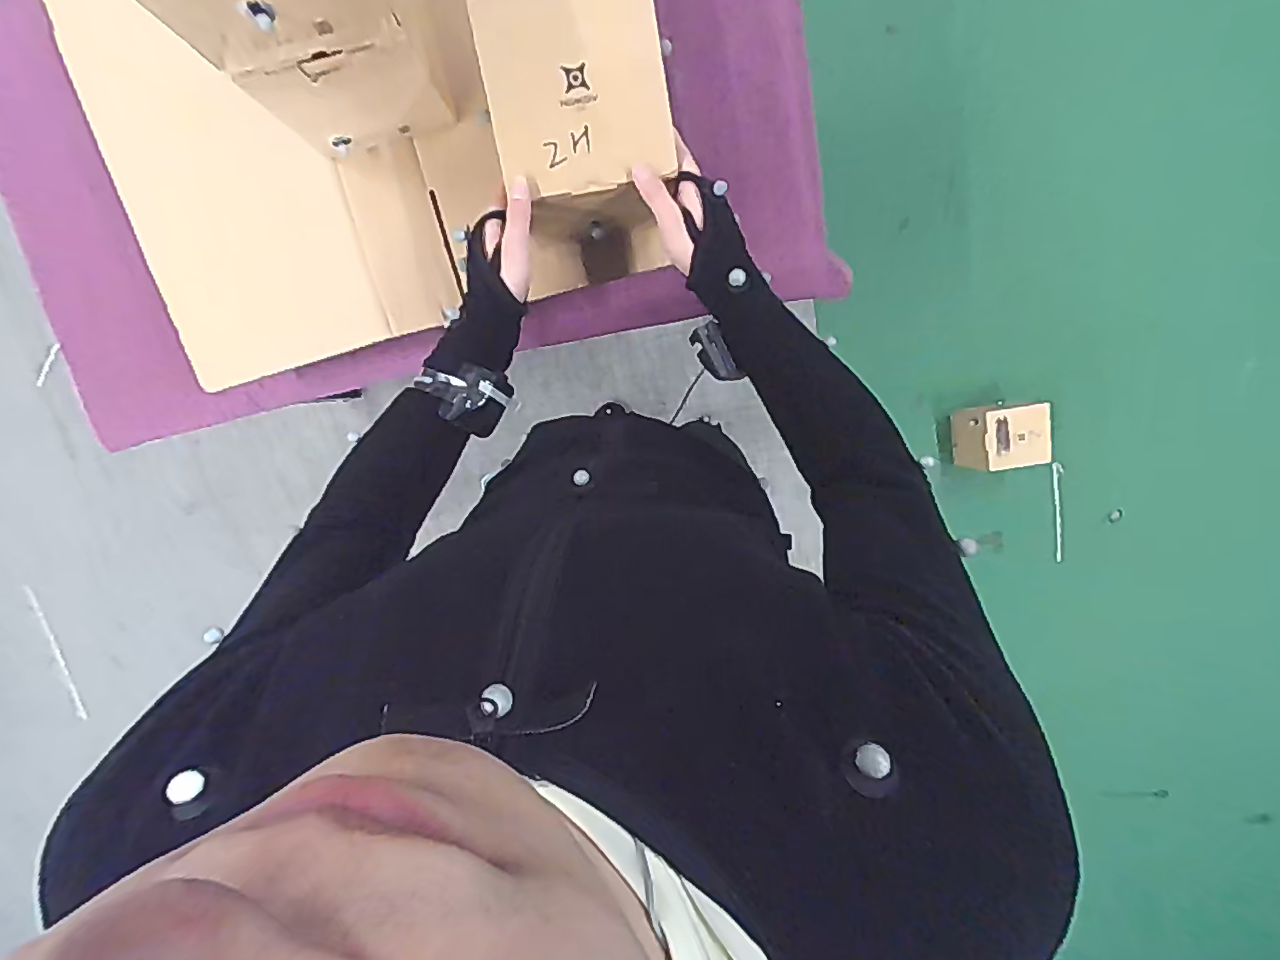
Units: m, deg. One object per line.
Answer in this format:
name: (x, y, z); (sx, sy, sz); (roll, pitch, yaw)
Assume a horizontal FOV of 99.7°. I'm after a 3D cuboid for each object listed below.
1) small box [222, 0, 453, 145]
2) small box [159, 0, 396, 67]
small box: (-0.310, -0.470, 0.545); (0.168, 0.176, 0.179); (-15, 99, 0)
small box: (-0.306, -0.451, 0.384); (0.168, 0.176, 0.179); (-16, 101, 0)
